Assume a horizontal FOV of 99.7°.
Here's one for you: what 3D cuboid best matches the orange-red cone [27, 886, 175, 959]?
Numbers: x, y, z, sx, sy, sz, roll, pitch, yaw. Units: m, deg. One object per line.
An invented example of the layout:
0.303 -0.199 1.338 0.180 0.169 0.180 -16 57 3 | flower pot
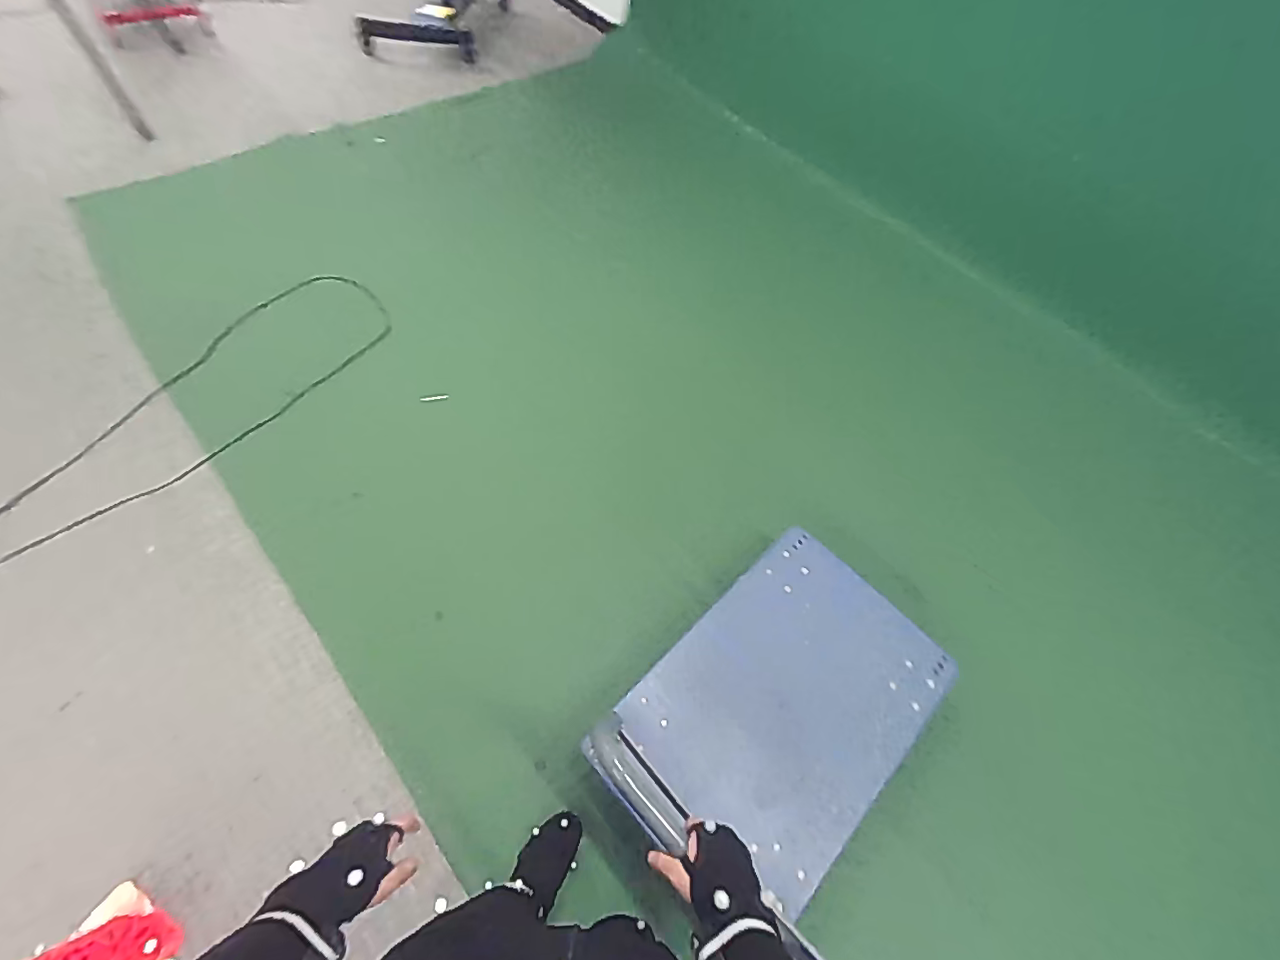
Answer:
-1.094 0.912 0.978 0.199 0.360 0.198 32 61 14 | orange-red cone
